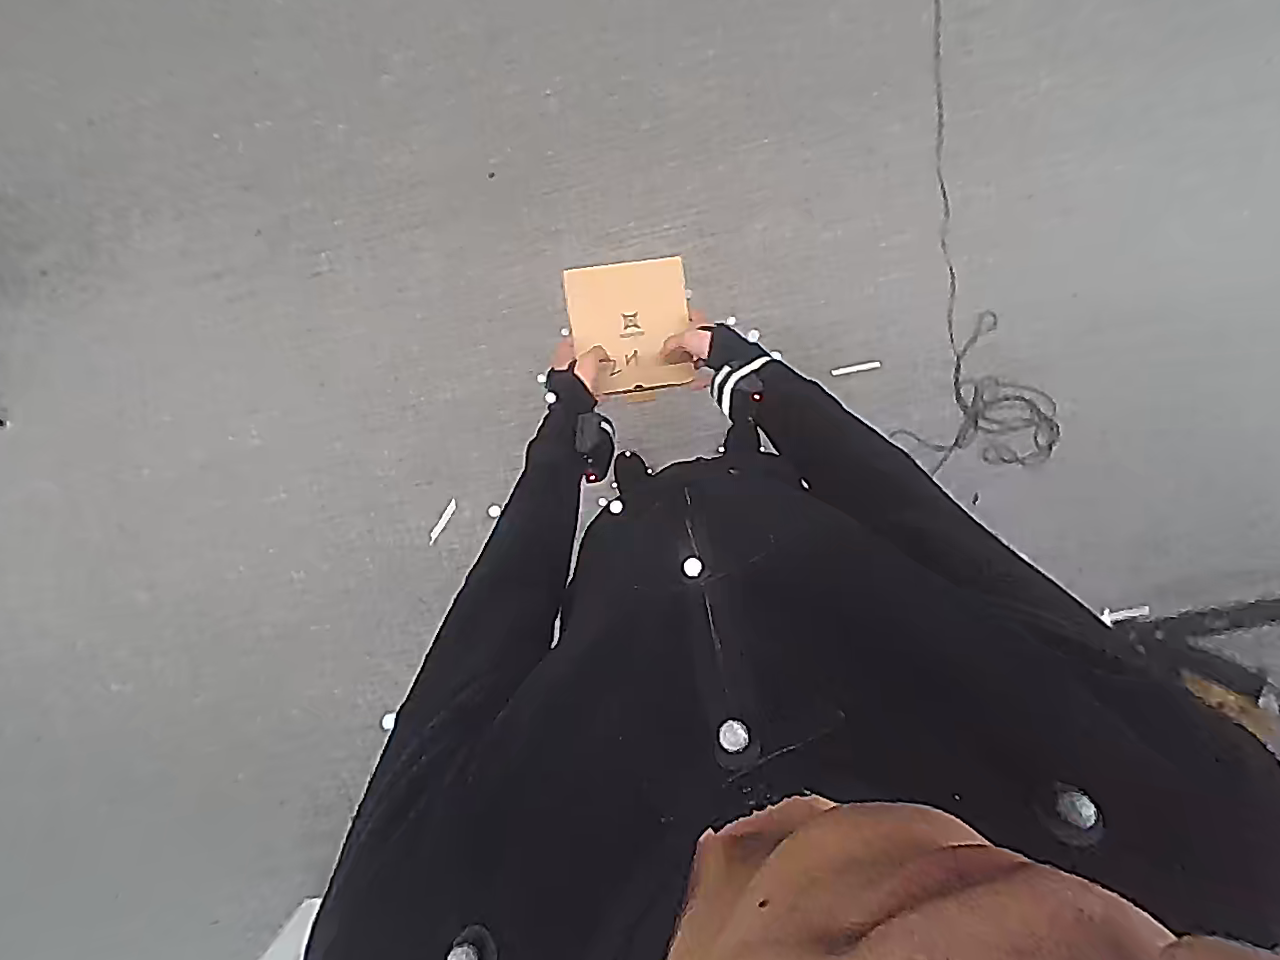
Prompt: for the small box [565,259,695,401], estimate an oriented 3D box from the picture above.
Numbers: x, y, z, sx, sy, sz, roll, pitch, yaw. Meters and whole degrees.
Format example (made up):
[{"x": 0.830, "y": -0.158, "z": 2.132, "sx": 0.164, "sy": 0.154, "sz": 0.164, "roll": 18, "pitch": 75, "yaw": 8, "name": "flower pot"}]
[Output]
[{"x": -0.019, "y": -0.218, "z": 0.826, "sx": 0.168, "sy": 0.176, "sz": 0.179, "roll": -9, "pitch": 99, "yaw": -3, "name": "small box"}]
